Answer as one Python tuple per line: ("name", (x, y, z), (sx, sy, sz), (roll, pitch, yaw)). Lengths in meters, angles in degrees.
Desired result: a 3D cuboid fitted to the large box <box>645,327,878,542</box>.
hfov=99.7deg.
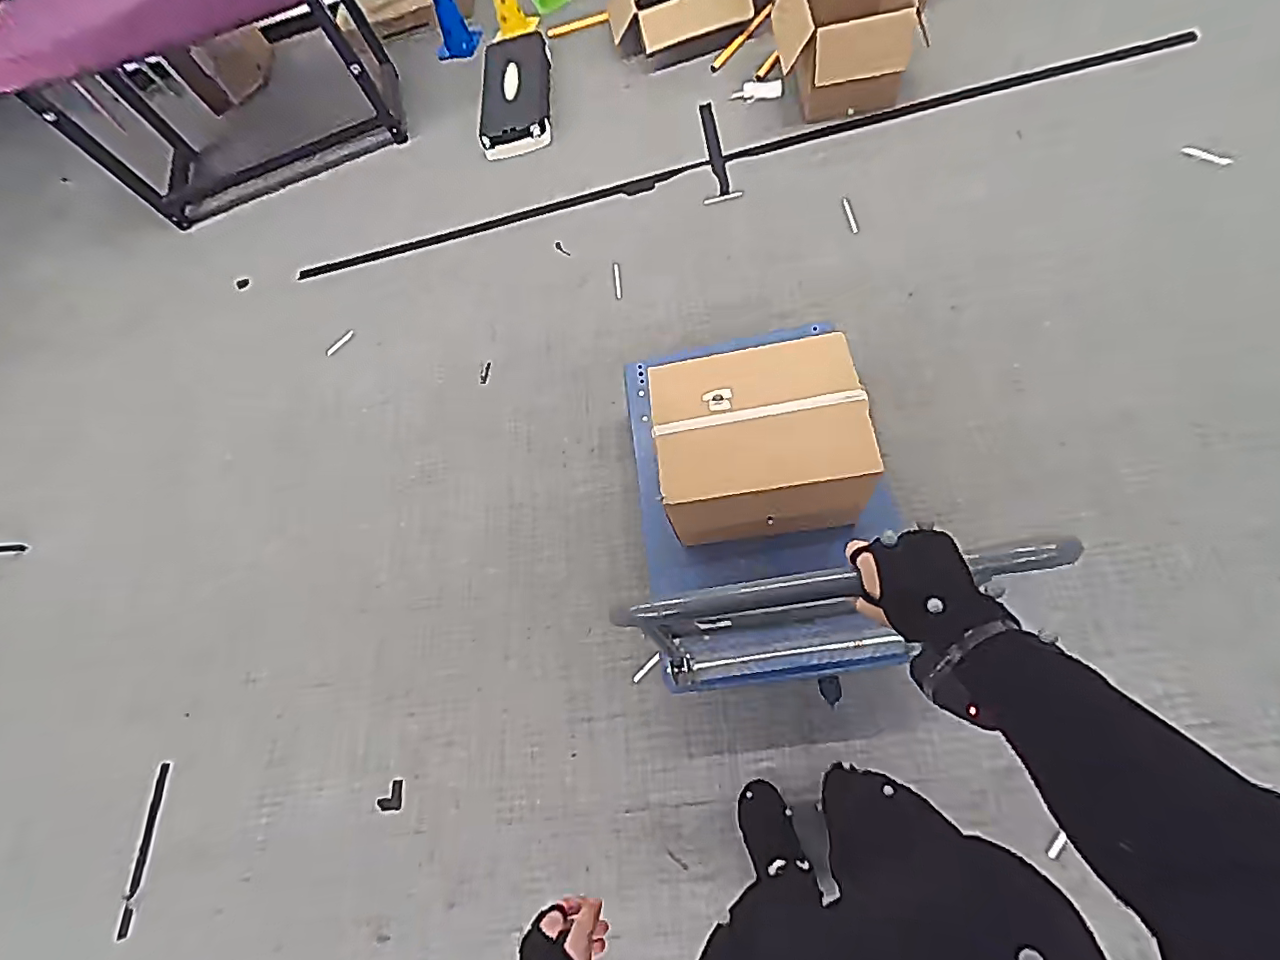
("large box", (0.249, -0.077, 1.179), (0.408, 0.320, 0.320), (-10, 65, 9))
